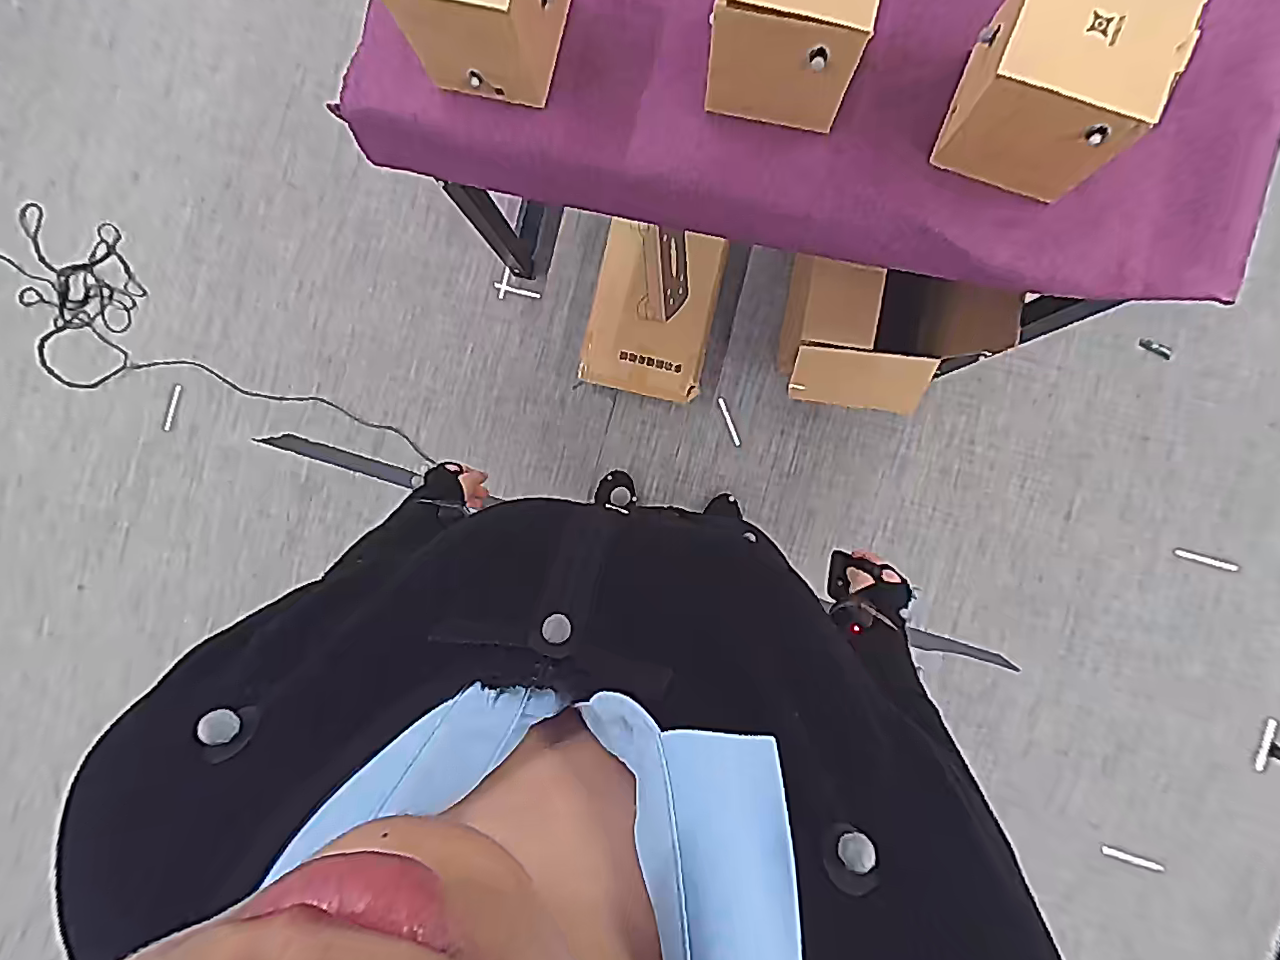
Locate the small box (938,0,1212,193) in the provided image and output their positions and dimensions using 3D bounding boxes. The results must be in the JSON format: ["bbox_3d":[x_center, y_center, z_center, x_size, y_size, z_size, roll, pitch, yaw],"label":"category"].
[{"bbox_3d":[0.495,-0.477,0.641,0.179,0.176,0.168,21,92,3],"label":"small box"}]

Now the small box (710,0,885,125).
[{"bbox_3d":[0.193,-0.576,0.660,0.179,0.176,0.168,14,89,4],"label":"small box"}]
